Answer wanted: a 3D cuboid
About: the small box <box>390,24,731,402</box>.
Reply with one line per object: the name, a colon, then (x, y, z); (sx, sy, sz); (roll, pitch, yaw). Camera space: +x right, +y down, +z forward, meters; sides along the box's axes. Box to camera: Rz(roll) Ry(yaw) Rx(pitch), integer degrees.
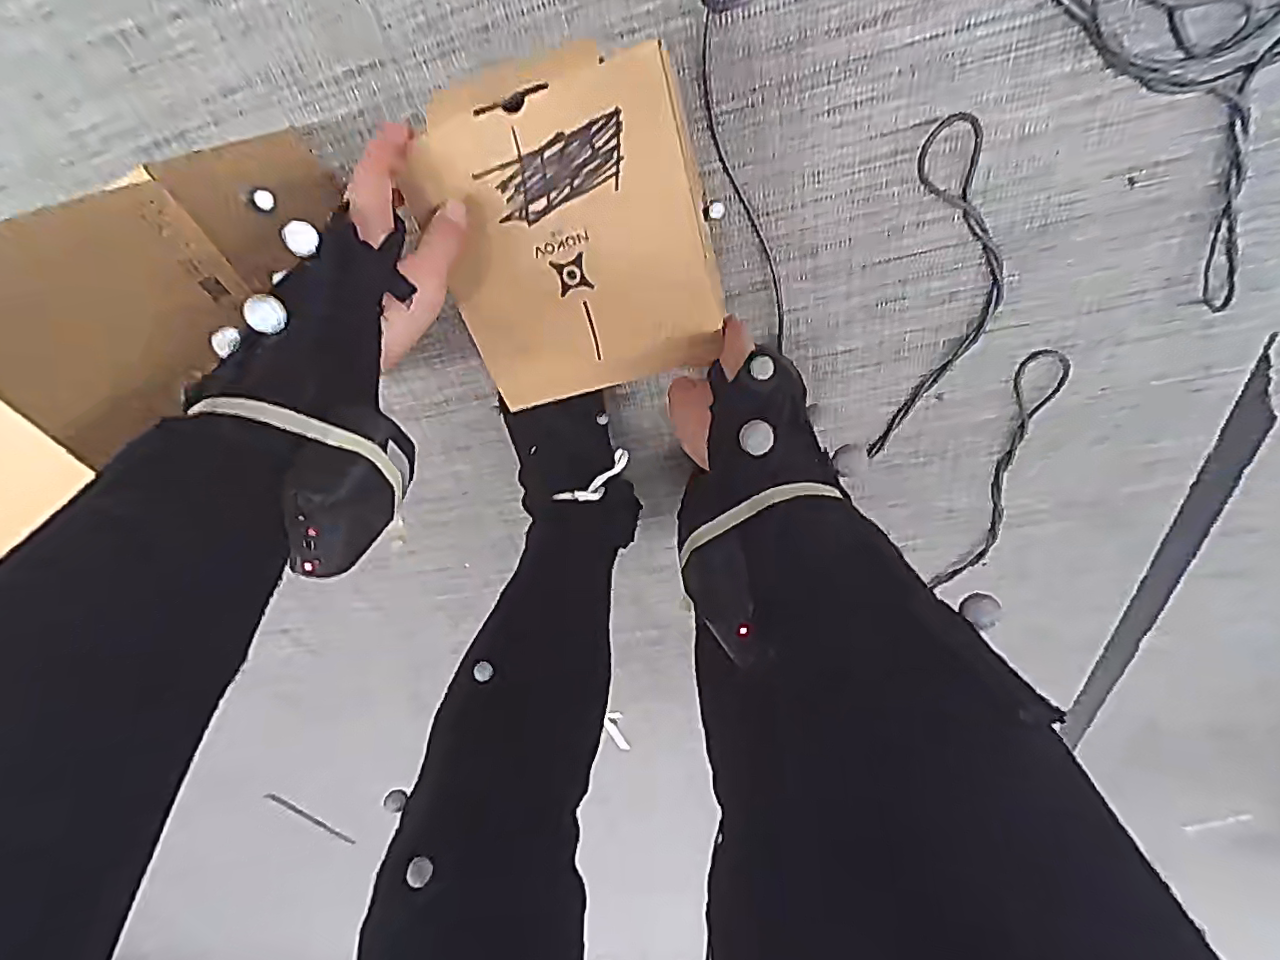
small box: (-0.035, -0.184, 0.392); (0.168, 0.176, 0.179); (-11, 123, 13)
